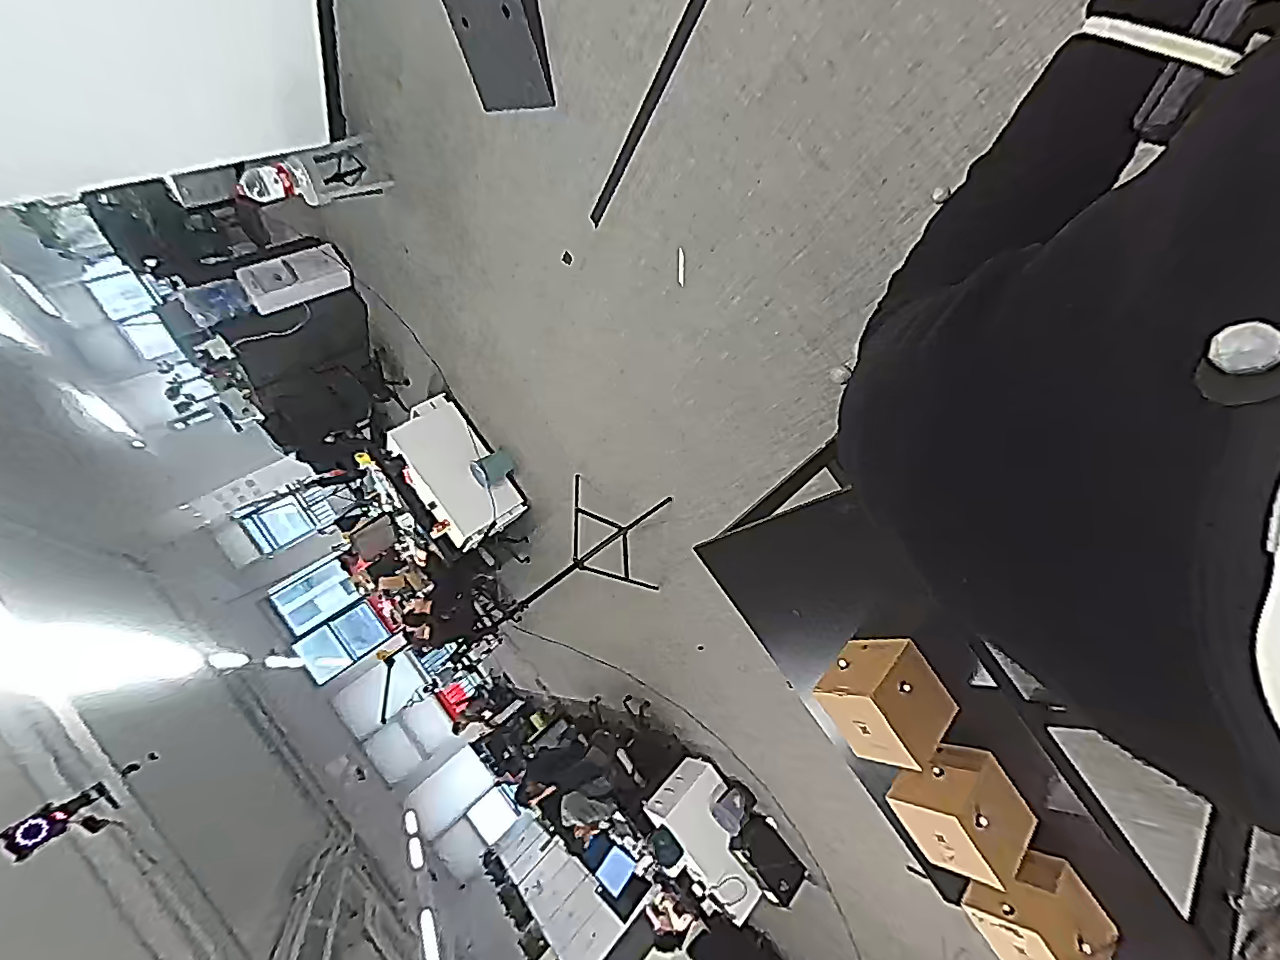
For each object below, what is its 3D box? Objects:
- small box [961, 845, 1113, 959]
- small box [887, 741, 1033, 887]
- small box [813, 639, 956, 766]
[{"bbox_3d":[0.819,0.892,1.114,0.179,0.176,0.168,53,150,2],"label":"small box"},{"bbox_3d":[0.659,0.670,1.115,0.179,0.176,0.168,55,151,-1],"label":"small box"},{"bbox_3d":[0.503,0.445,1.114,0.179,0.176,0.168,54,152,-1],"label":"small box"}]
